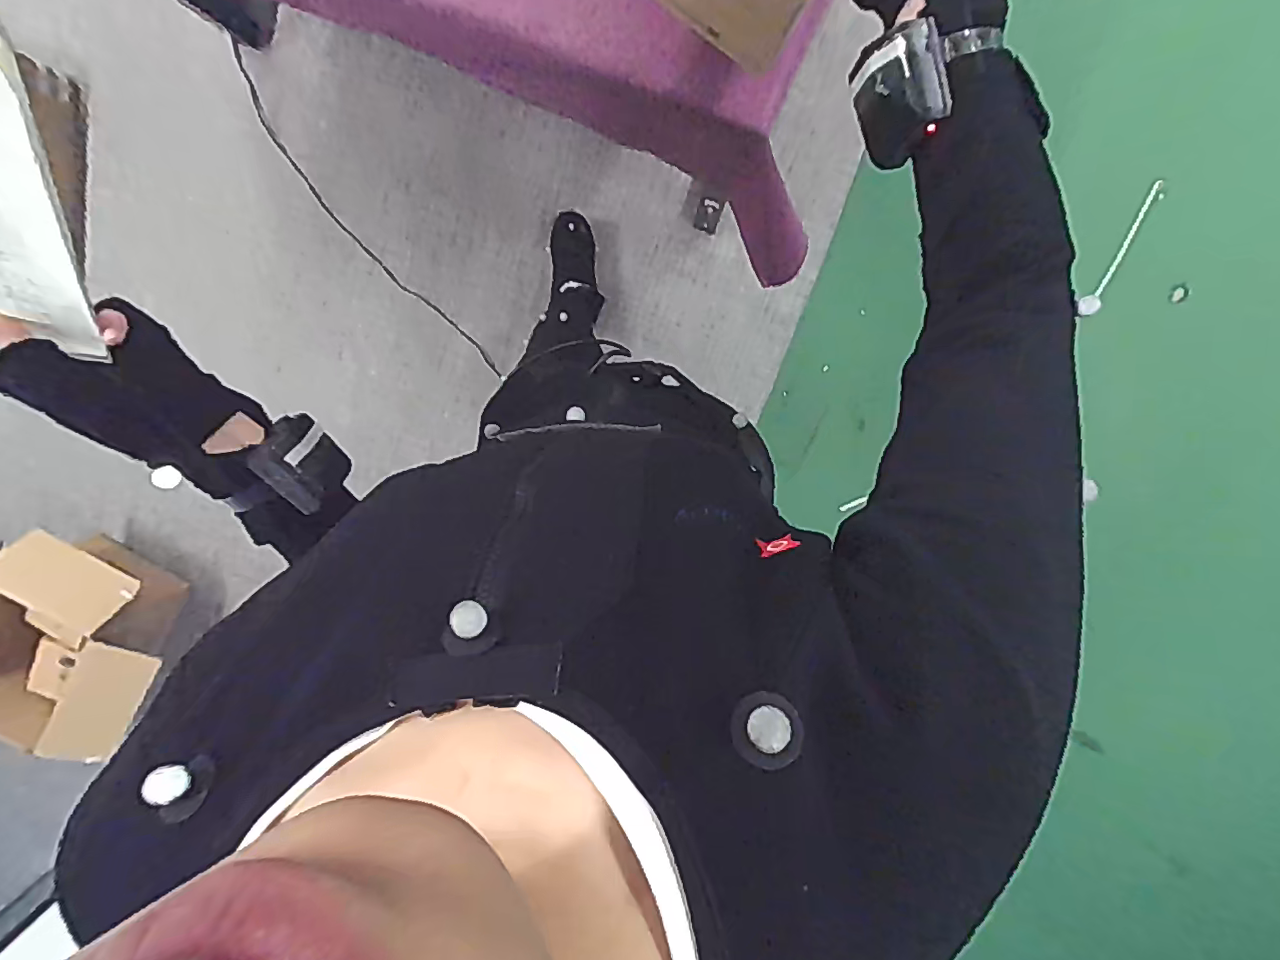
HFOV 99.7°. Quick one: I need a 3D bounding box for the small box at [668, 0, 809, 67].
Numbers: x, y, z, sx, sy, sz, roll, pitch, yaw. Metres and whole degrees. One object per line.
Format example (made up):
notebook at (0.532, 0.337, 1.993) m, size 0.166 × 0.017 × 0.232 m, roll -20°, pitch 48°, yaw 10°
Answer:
small box at (0.096, -0.478, 0.413) m, size 0.168 × 0.176 × 0.179 m, roll 32°, pitch 107°, yaw -9°
